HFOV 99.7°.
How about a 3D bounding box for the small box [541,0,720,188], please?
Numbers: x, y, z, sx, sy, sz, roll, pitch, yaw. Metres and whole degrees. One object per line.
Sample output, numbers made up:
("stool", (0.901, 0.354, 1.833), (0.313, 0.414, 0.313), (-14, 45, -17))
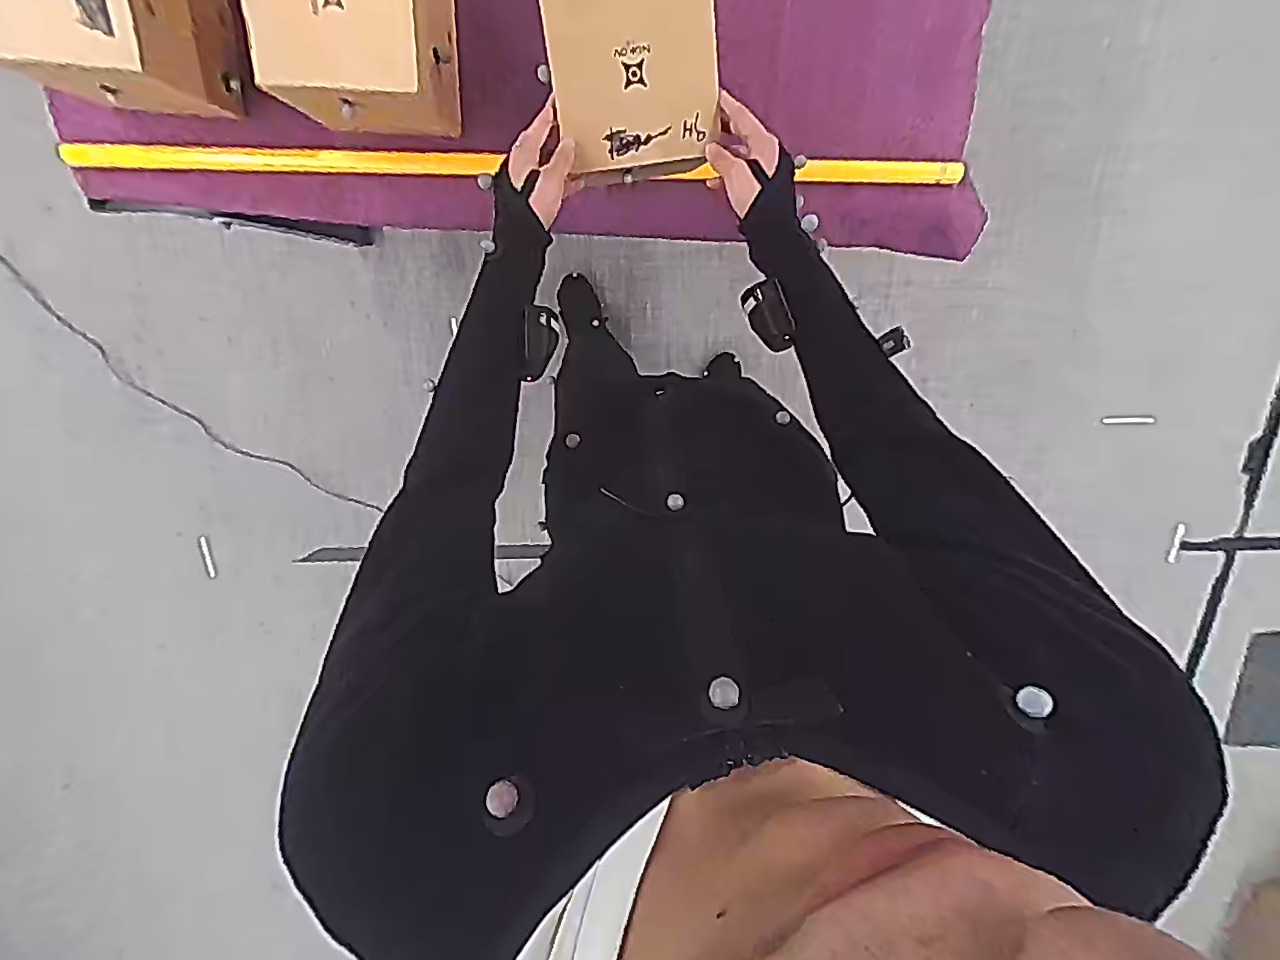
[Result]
("small box", (-0.015, -0.438, 0.597), (0.168, 0.176, 0.179), (-8, 114, -3))

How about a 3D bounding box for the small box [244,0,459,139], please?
("small box", (-0.319, -0.515, 0.628), (0.179, 0.176, 0.168), (2, 108, -1))

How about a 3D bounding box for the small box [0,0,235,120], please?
("small box", (-0.601, -0.530, 0.613), (0.179, 0.176, 0.168), (3, 109, -3))
